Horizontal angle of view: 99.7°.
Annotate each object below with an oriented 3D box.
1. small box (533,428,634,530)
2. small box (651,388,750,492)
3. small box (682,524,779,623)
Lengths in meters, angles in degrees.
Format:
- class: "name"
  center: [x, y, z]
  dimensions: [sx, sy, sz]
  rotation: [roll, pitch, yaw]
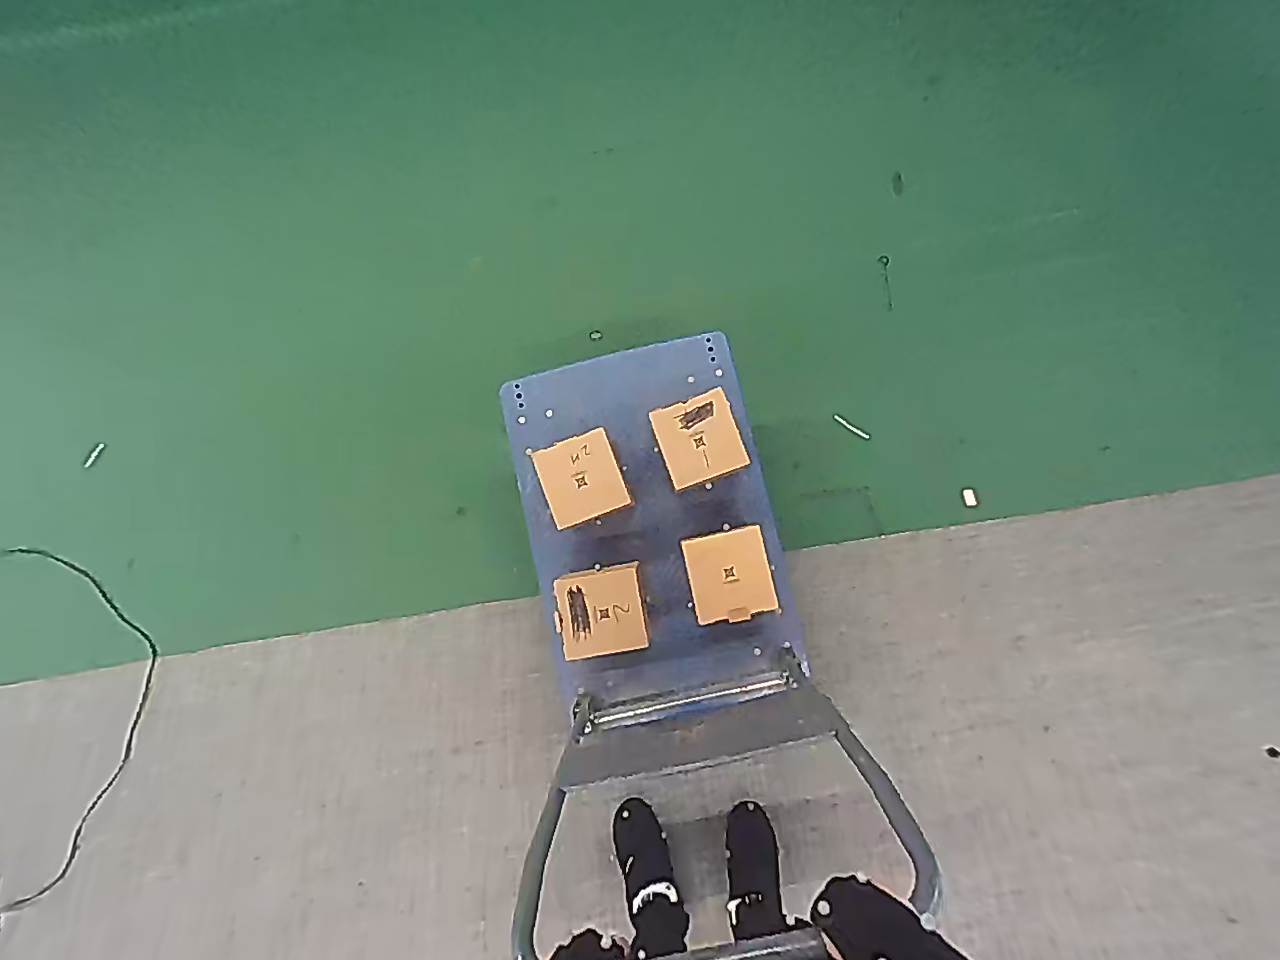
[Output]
- class: "small box"
  center: [-0.118, 0.002, 1.211]
  dimensions: [0.168, 0.176, 0.179]
  rotation: [-20, 85, 0]
- class: "small box"
  center: [0.128, -0.082, 1.205]
  dimensions: [0.168, 0.176, 0.179]
  rotation: [-20, 86, 2]
- class: "small box"
  center: [0.188, 0.198, 1.183]
  dimensions: [0.168, 0.176, 0.179]
  rotation: [-13, 86, 2]
